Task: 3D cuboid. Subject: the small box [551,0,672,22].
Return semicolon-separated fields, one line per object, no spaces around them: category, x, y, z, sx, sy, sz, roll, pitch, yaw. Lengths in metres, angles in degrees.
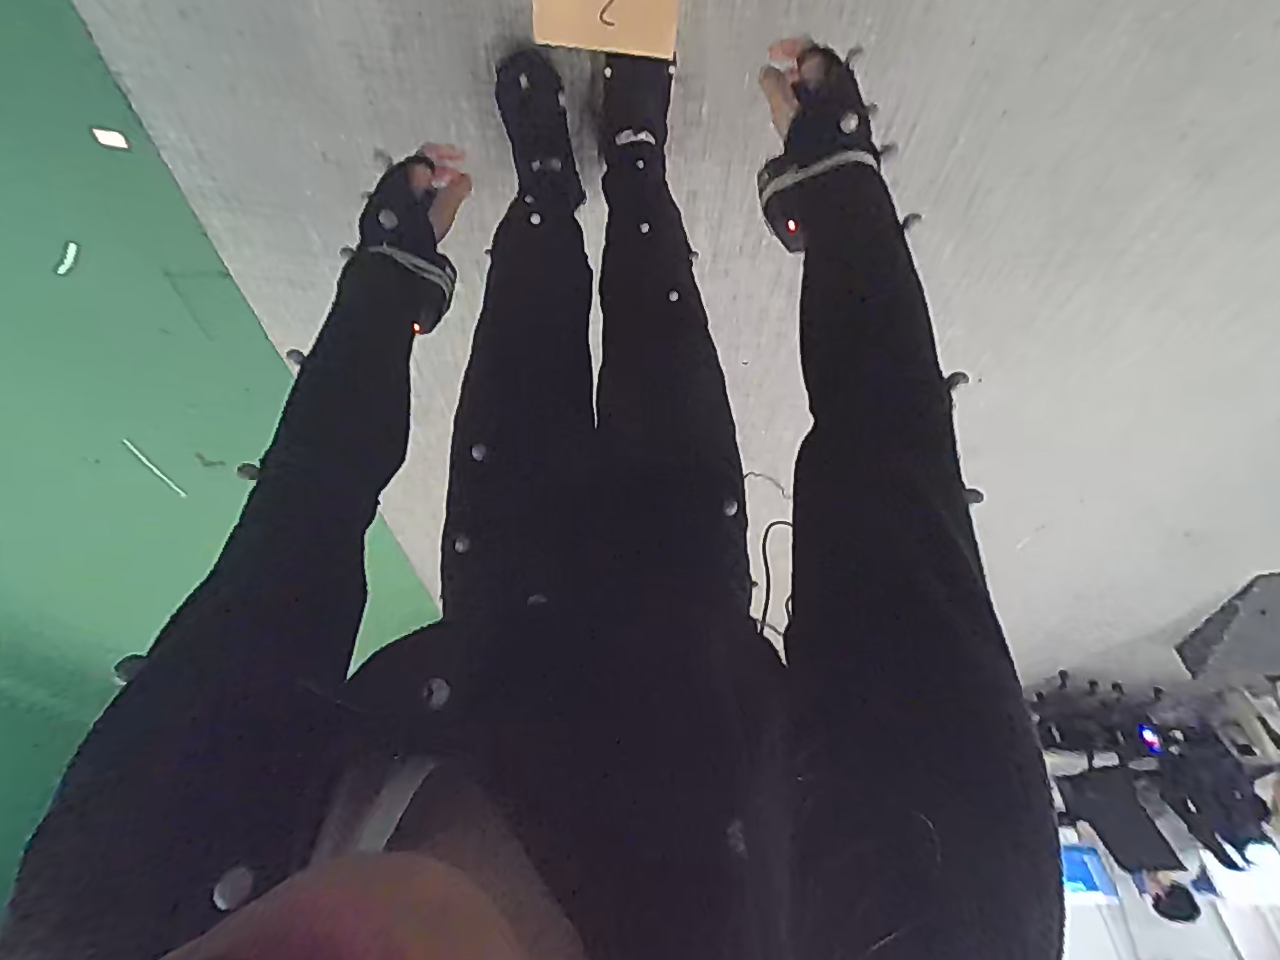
small box;-0.031;-0.745;0.711;0.168;0.176;0.179;2;144;-3
